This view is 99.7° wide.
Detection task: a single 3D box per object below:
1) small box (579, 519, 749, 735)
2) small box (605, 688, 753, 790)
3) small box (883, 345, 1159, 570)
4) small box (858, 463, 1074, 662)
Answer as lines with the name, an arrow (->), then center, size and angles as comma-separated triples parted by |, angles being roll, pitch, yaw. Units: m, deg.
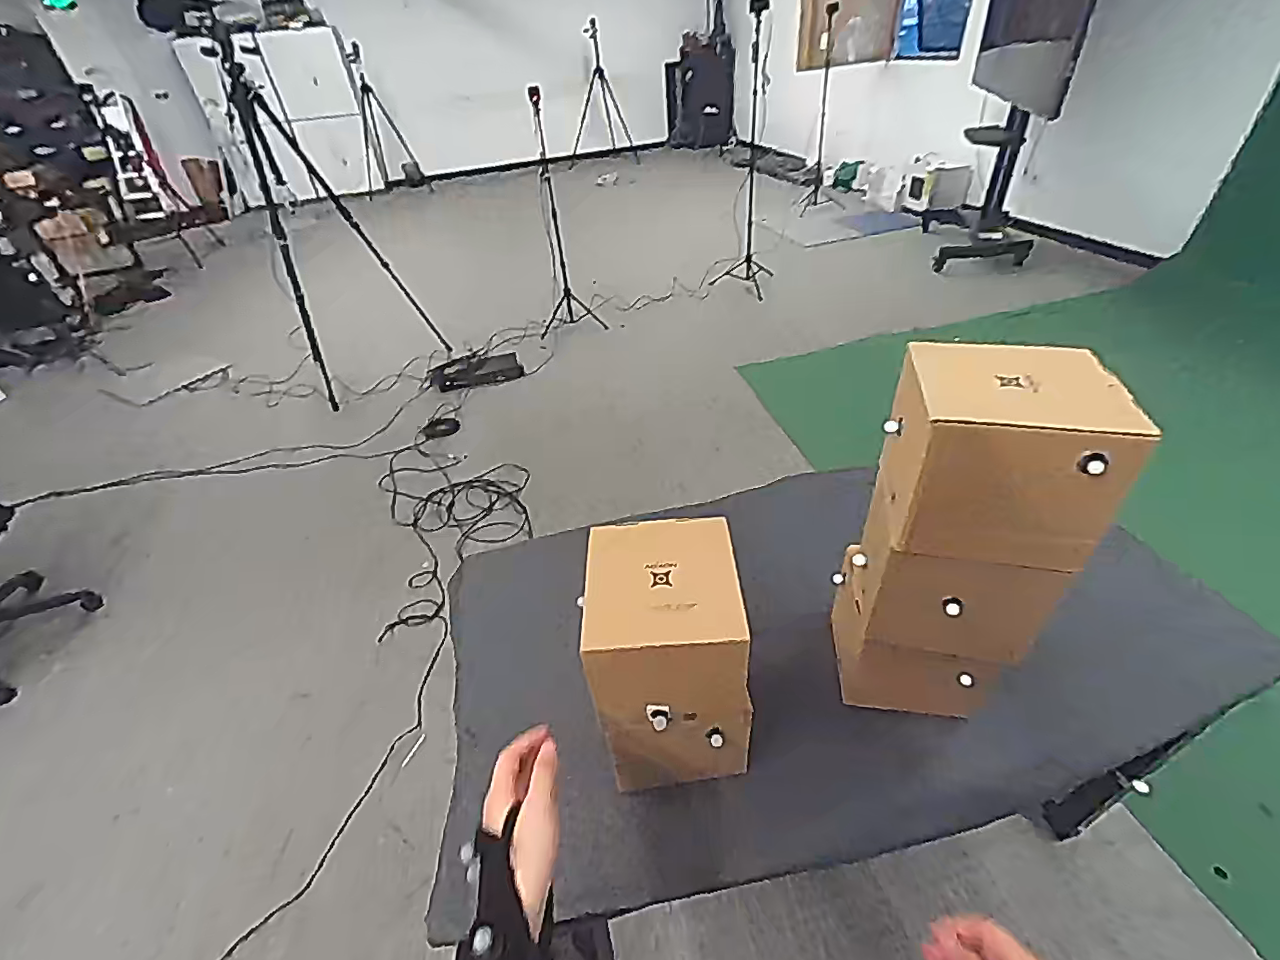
small box -> 0.028, 0.169, 0.629 | 0.168, 0.176, 0.179 | -5, 40, 3
small box -> 0.044, 0.293, 0.734 | 0.179, 0.176, 0.168 | -8, 38, -2
small box -> 0.361, -0.026, 0.562 | 0.179, 0.176, 0.168 | 6, 40, 14
small box -> 0.377, 0.099, 0.664 | 0.179, 0.176, 0.168 | 7, 40, 16
